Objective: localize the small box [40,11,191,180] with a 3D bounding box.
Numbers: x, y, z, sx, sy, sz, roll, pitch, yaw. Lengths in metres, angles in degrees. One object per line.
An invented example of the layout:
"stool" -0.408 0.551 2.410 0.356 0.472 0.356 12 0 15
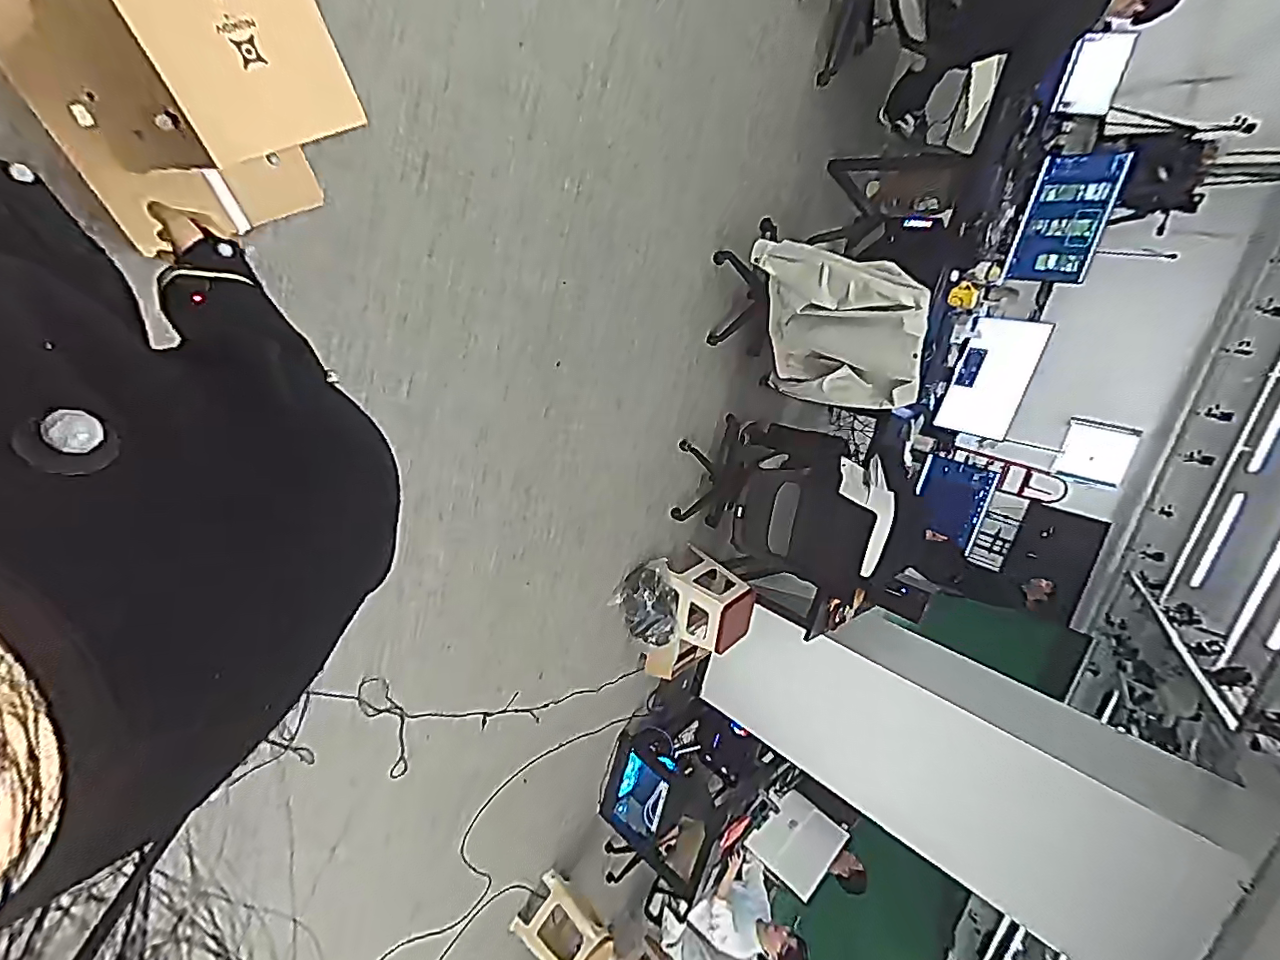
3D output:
"small box" -0.672 -0.539 0.757 0.168 0.176 0.179 -43 138 -28

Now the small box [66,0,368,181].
"small box" -0.430 -0.431 0.561 0.168 0.176 0.179 -43 138 -29
